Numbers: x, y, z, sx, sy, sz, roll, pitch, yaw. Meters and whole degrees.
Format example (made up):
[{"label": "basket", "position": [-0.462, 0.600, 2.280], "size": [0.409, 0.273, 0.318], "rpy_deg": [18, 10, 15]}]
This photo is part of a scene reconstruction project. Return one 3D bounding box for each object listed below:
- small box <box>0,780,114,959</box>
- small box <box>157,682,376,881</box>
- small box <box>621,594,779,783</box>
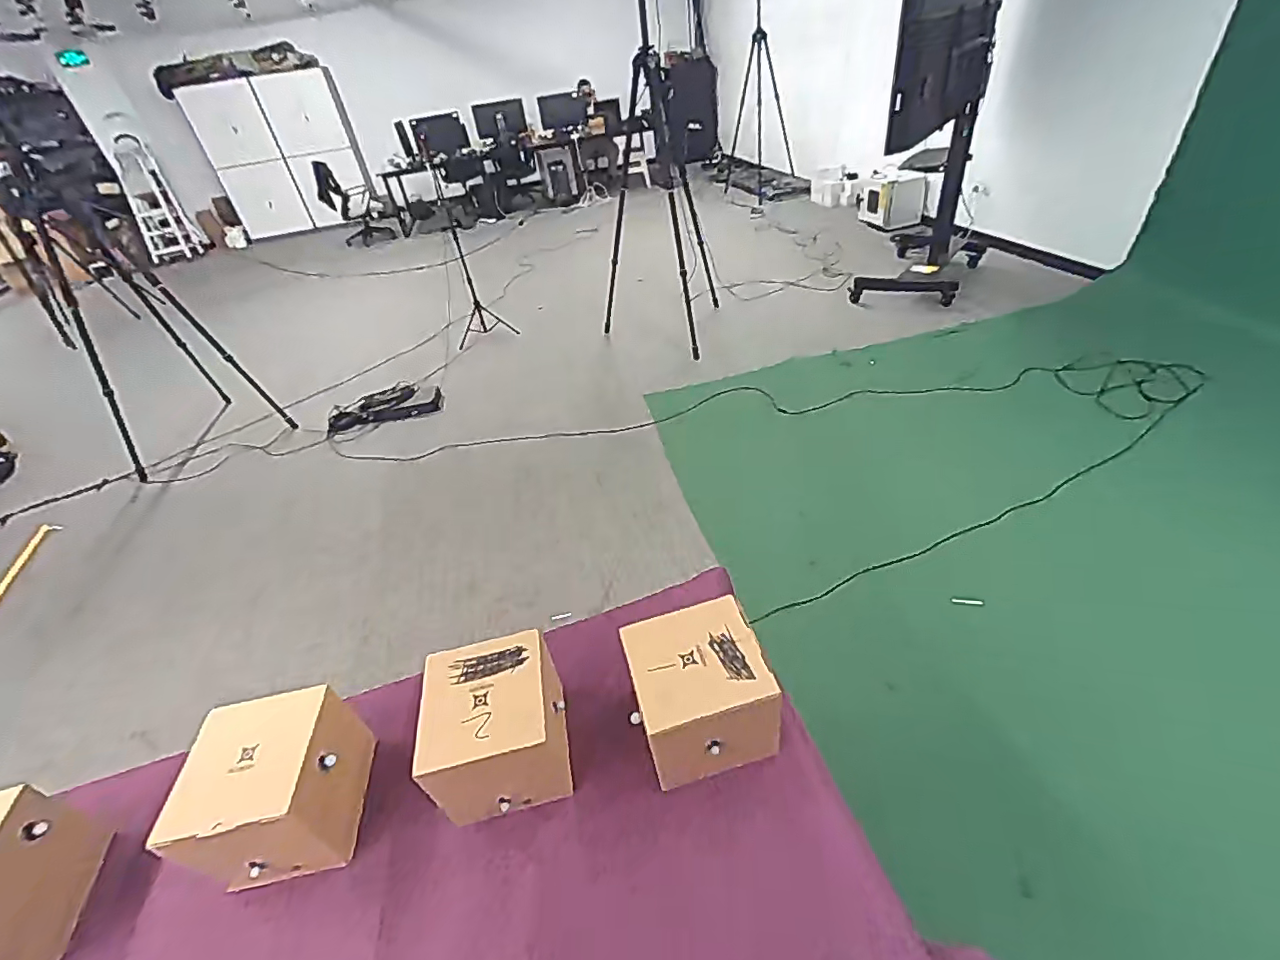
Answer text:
[{"label": "small box", "position": [-0.839, 0.528, 0.686], "size": [0.168, 0.176, 0.179], "rpy_deg": [-16, 39, -8]}, {"label": "small box", "position": [-0.494, 0.418, 0.754], "size": [0.168, 0.176, 0.179], "rpy_deg": [-12, 40, -2]}, {"label": "small box", "position": [0.084, 0.297, 0.774], "size": [0.179, 0.176, 0.168], "rpy_deg": [-16, 39, -5]}]
